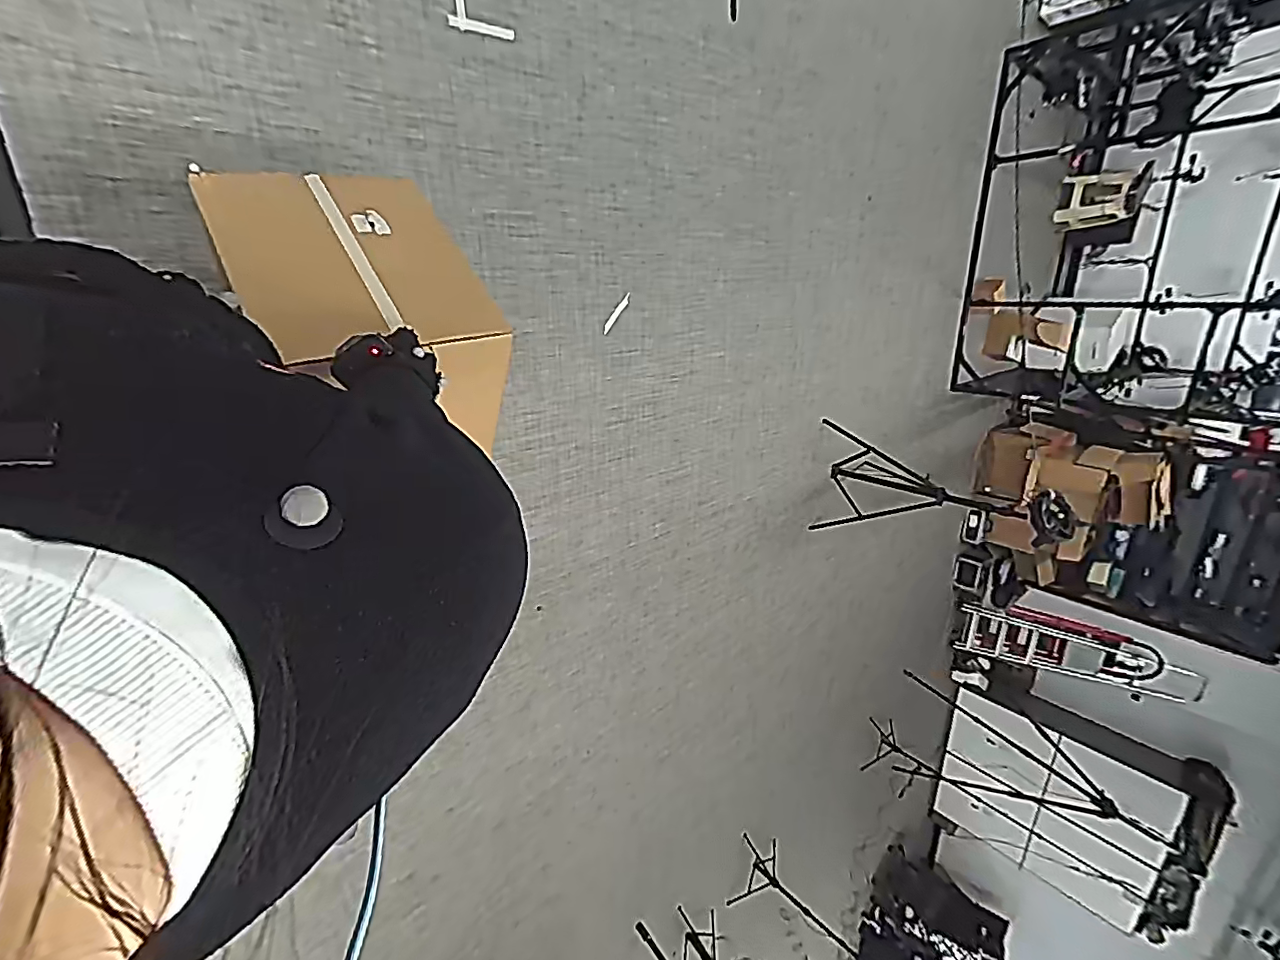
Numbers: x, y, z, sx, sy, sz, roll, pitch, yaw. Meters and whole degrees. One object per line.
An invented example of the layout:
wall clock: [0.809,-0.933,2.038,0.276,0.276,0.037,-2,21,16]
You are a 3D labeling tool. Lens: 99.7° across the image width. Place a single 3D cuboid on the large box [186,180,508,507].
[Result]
large box: [-0.466,-0.232,0.897,0.320,0.408,0.320,-21,154,-35]
